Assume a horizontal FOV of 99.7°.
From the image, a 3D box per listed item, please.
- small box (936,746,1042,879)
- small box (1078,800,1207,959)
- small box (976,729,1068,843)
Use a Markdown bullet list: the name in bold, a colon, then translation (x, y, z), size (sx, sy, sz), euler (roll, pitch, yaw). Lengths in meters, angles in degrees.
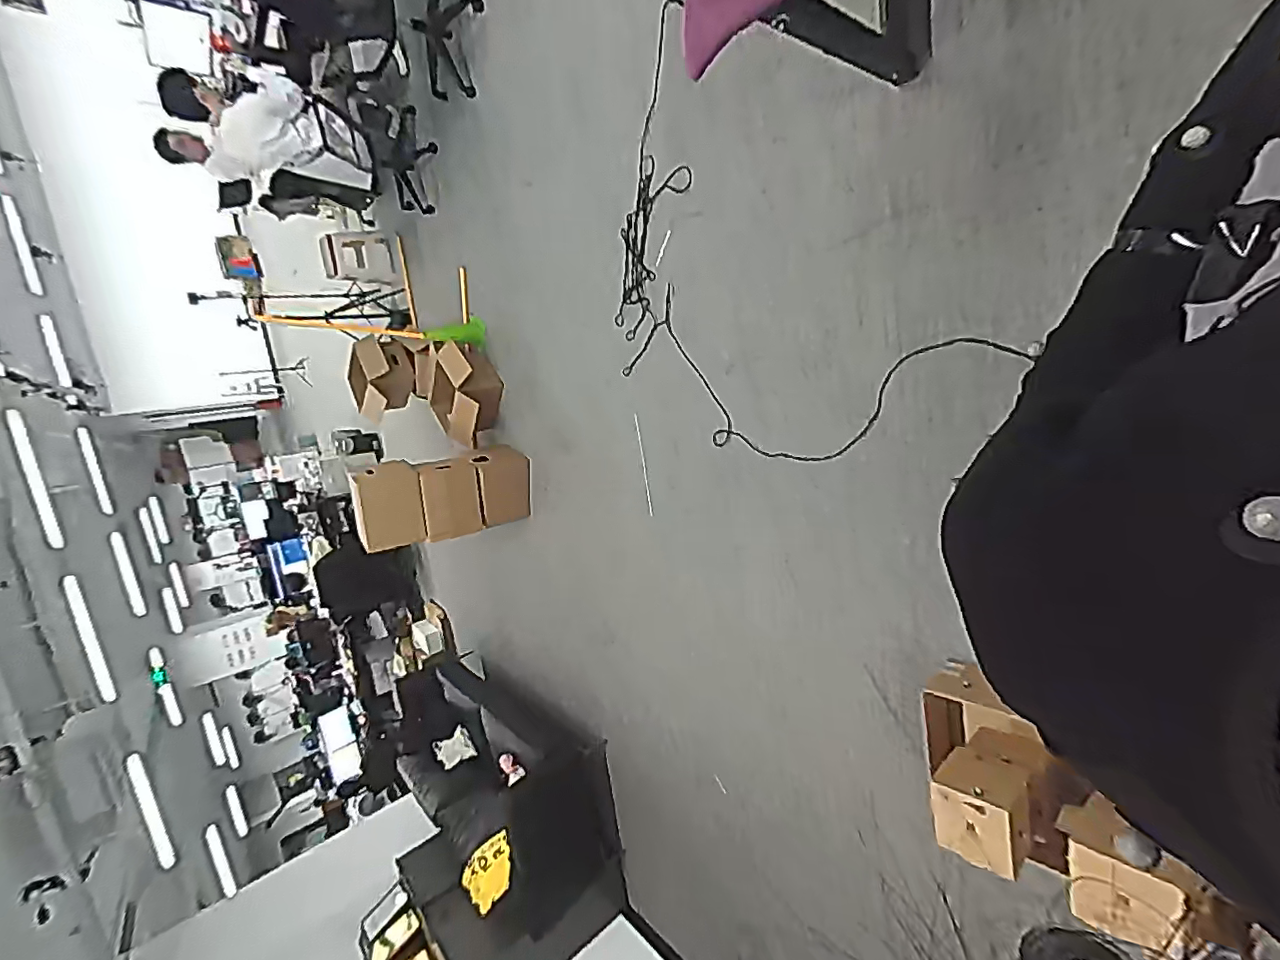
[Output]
- **small box**: translation (0.834, 0.779, 1.287), size (0.168, 0.176, 0.179), euler (-1, 102, 51)
- **small box**: translation (1.001, 0.788, 1.080), size (0.168, 0.176, 0.179), euler (2, 103, 53)
- **small box**: translation (0.967, 0.770, 1.384), size (0.179, 0.176, 0.168), euler (-6, 96, 53)
